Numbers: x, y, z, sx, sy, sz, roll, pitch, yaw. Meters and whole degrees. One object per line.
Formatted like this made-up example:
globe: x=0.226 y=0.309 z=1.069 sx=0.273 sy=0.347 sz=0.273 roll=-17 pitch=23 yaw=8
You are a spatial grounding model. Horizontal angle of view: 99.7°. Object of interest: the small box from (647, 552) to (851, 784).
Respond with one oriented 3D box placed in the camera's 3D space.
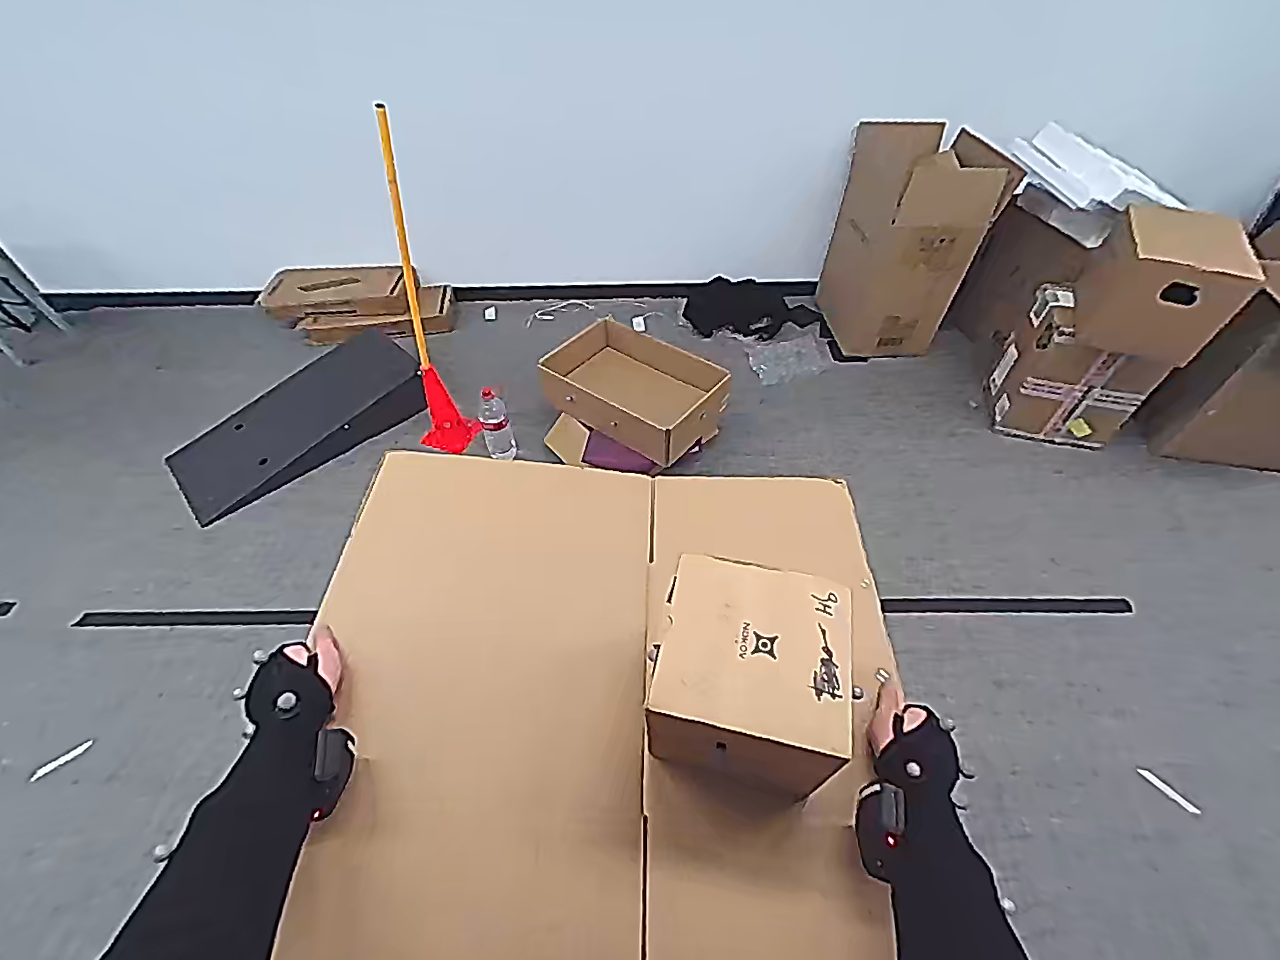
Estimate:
small box: x=0.113 y=0.202 z=0.574 sx=0.179 sy=0.176 sz=0.168 roll=9 pitch=52 yaw=11
